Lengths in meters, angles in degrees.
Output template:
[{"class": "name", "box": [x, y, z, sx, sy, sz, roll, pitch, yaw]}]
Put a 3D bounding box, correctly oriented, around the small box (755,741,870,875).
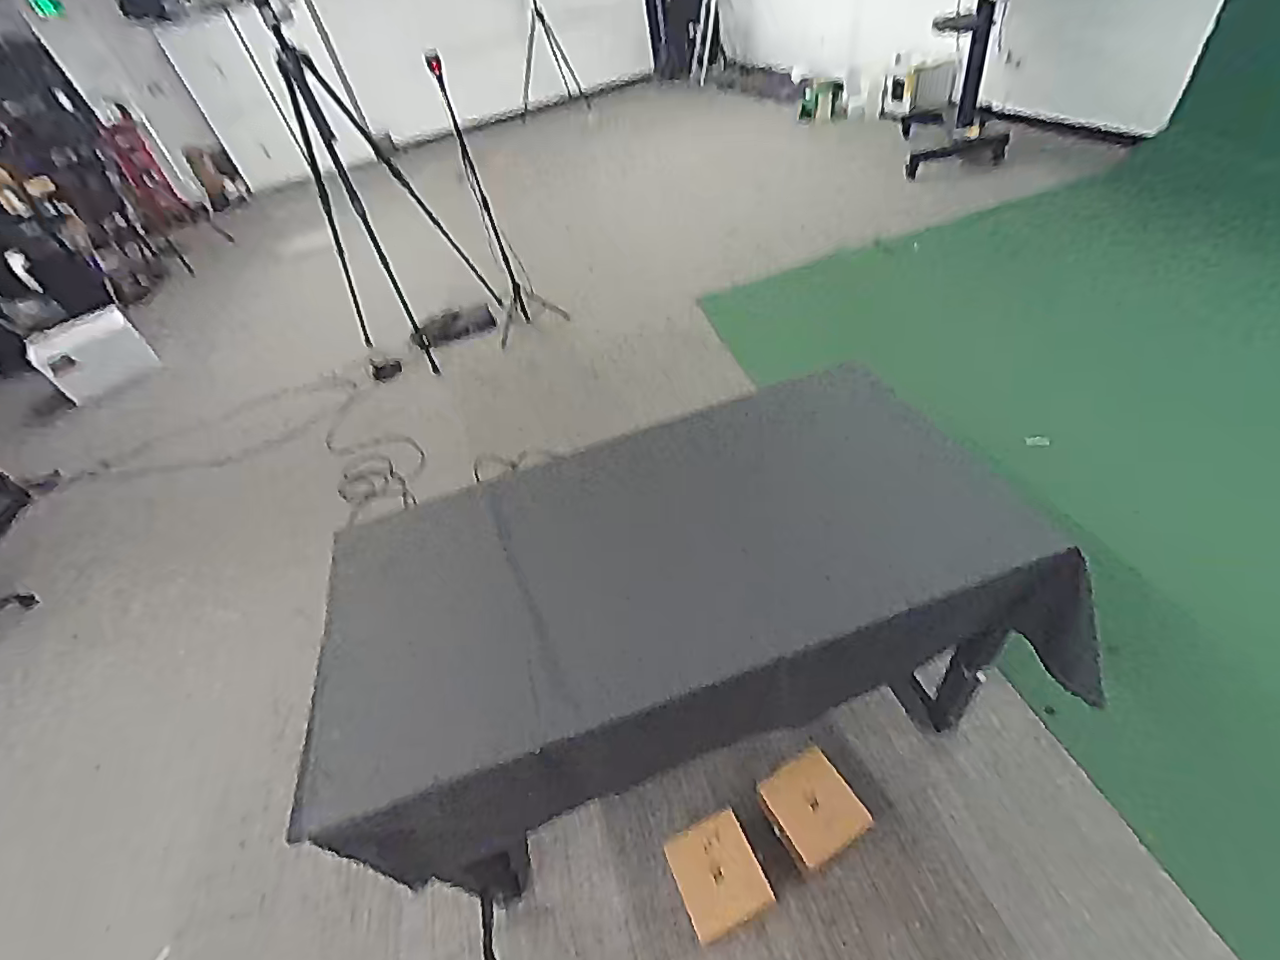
[{"class": "small box", "box": [0.372, 0.723, 1.189, 0.168, 0.176, 0.179, -27, 45, -12]}]
